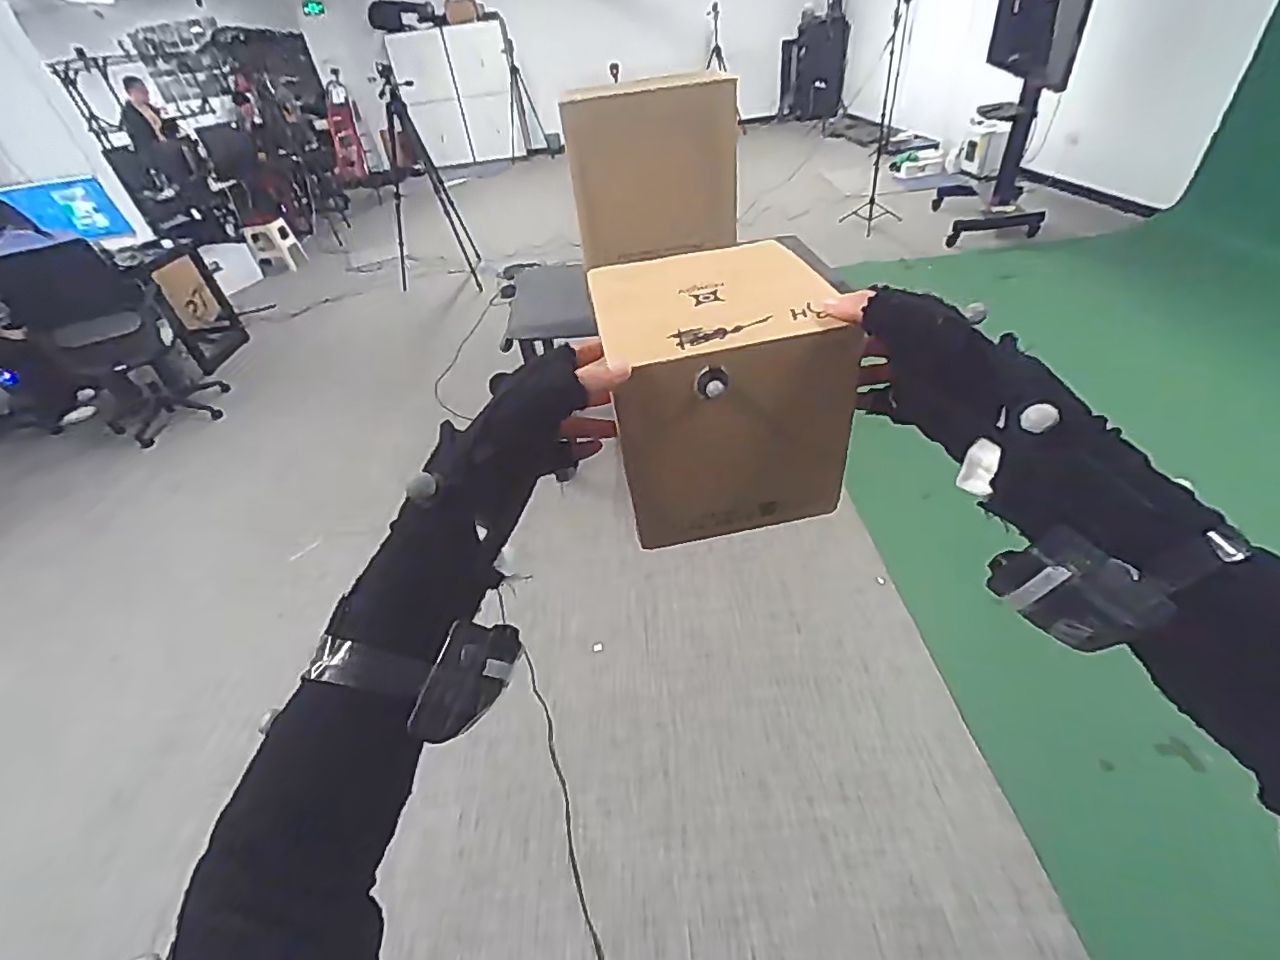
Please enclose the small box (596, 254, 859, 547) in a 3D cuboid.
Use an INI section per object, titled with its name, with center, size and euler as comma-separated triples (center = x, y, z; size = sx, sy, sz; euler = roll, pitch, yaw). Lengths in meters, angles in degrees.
[small box]
center = 0.061, -0.071, 0.459
size = 0.168, 0.176, 0.179
euler = -11, 39, -1
